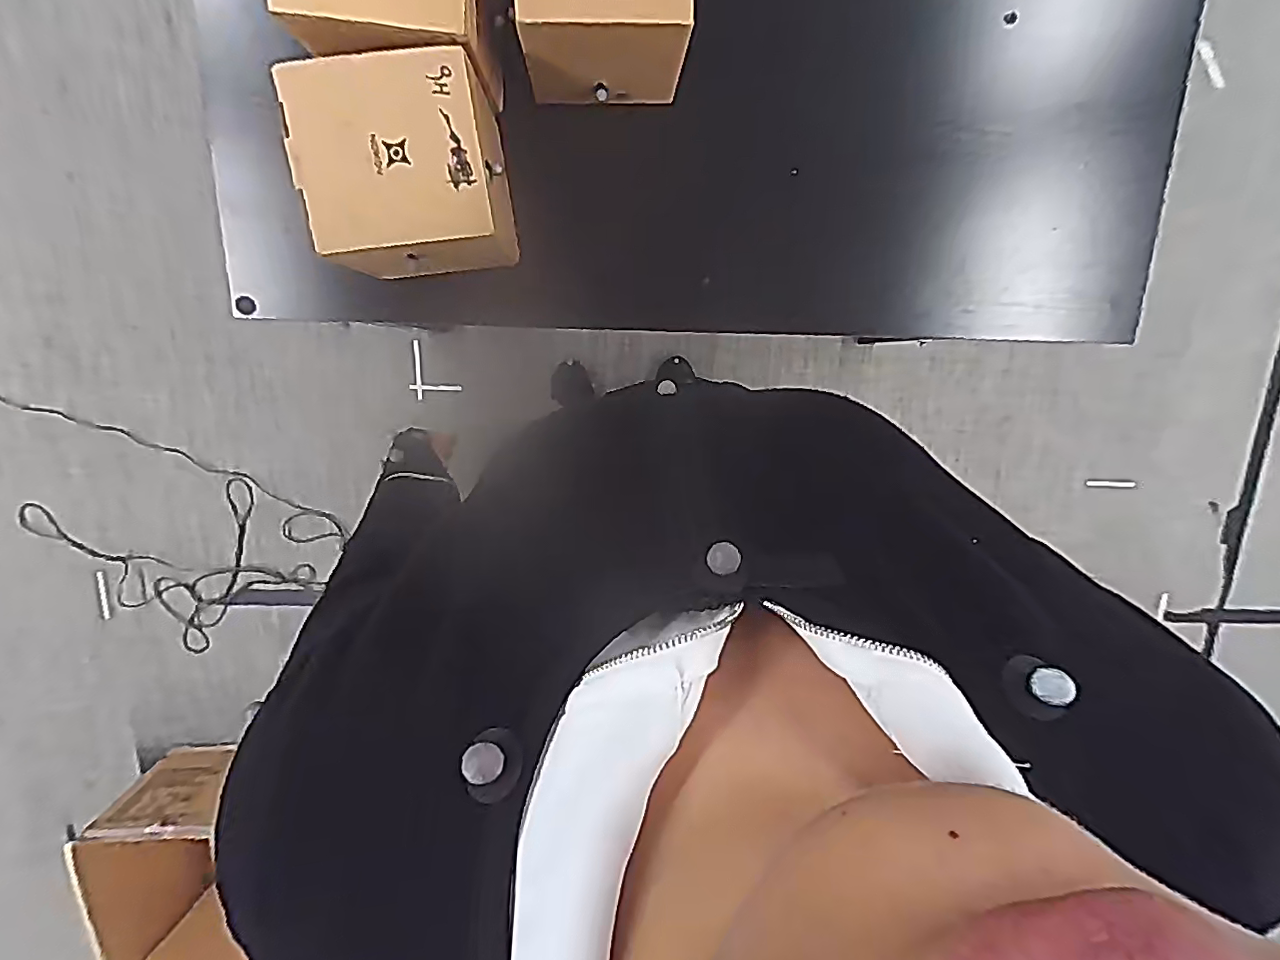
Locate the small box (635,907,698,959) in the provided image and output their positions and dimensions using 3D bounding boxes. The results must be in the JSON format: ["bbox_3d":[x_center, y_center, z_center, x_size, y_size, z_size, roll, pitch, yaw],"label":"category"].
[{"bbox_3d":[0.080,1.514,1.731,0.179,0.176,0.168,5,100,-4],"label":"small box"}]
